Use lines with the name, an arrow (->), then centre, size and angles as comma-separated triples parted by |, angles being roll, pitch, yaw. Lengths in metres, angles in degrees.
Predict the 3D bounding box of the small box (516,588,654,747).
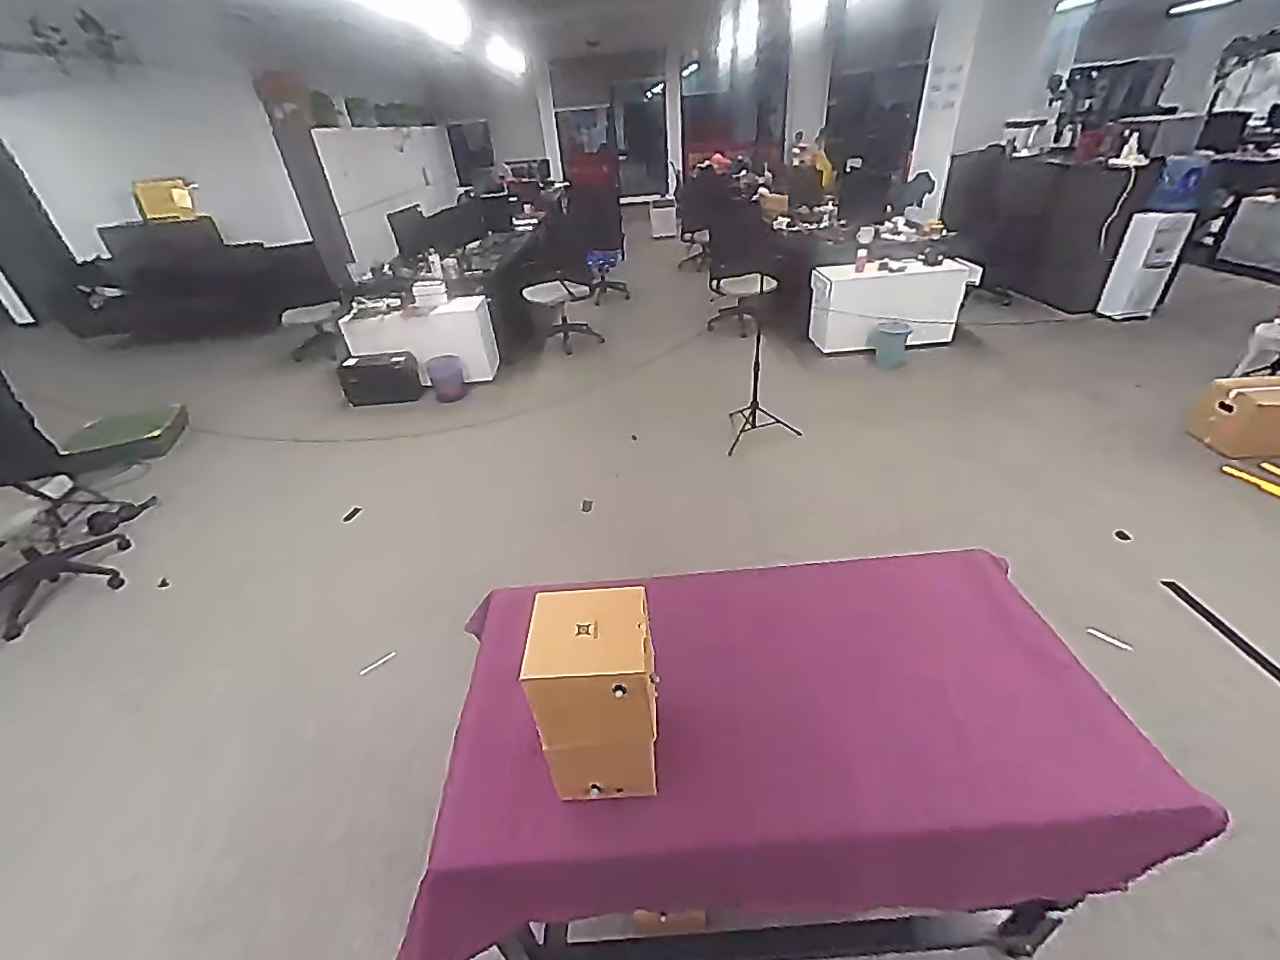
small box -> -0.074, 0.289, 0.832 | 0.179, 0.176, 0.168 | -4, 34, 3

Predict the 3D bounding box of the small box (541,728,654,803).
small box -> -0.064, 0.421, 0.926 | 0.168, 0.176, 0.179 | -5, 34, 2
